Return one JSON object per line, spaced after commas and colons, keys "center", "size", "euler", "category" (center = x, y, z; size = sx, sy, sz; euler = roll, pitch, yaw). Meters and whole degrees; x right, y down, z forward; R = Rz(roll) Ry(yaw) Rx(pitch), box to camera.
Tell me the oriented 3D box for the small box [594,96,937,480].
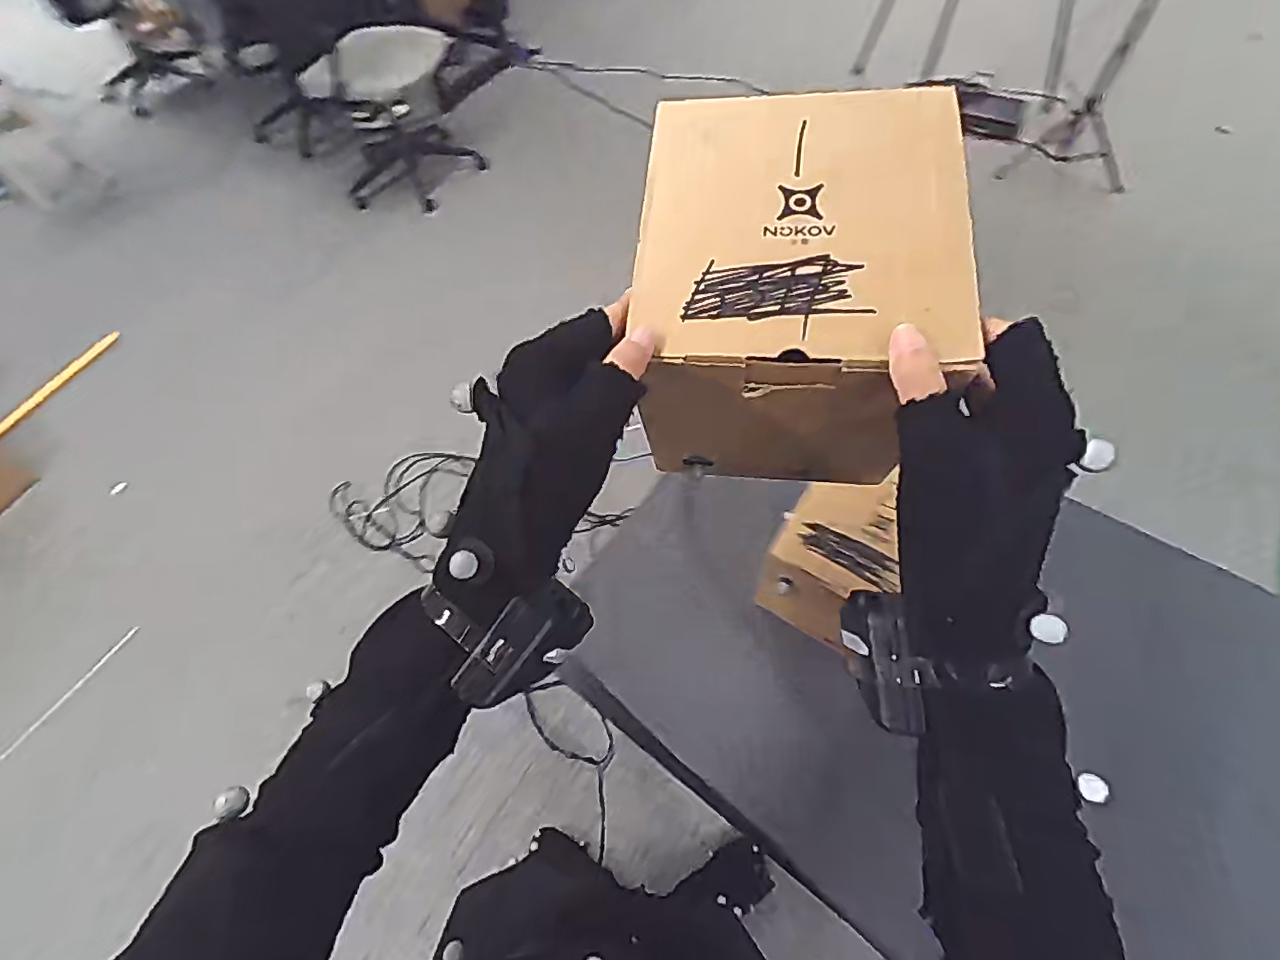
{"center": [0.076, -0.107, 0.360], "size": [0.168, 0.176, 0.179], "euler": [3, 70, 9], "category": "small box"}
